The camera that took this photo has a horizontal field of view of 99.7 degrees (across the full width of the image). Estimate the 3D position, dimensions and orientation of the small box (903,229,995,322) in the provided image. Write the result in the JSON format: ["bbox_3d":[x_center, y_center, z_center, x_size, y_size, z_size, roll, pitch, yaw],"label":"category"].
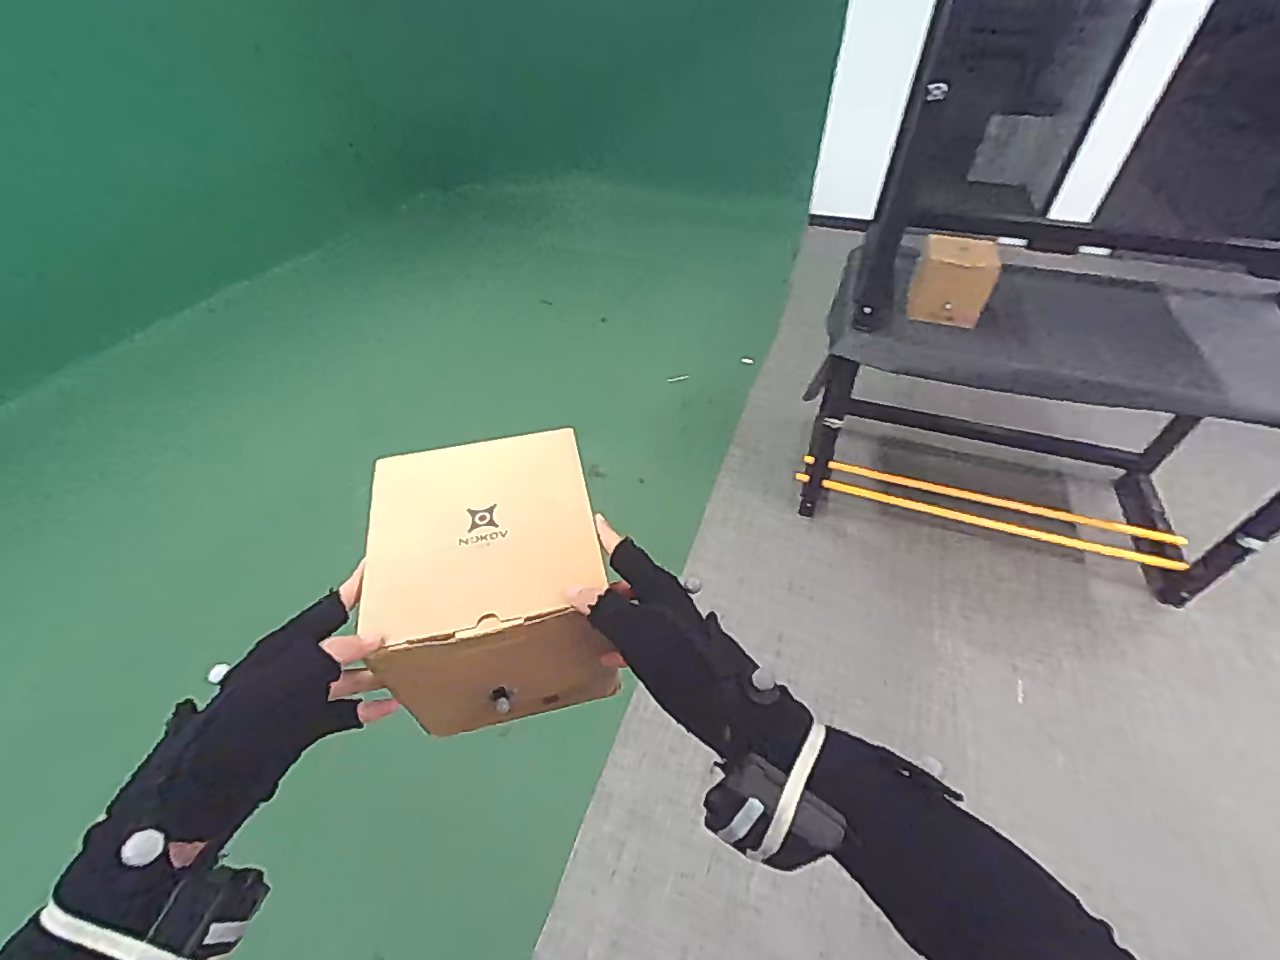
[{"bbox_3d":[0.820,-0.551,1.453,0.168,0.176,0.179,13,47,15],"label":"small box"}]
